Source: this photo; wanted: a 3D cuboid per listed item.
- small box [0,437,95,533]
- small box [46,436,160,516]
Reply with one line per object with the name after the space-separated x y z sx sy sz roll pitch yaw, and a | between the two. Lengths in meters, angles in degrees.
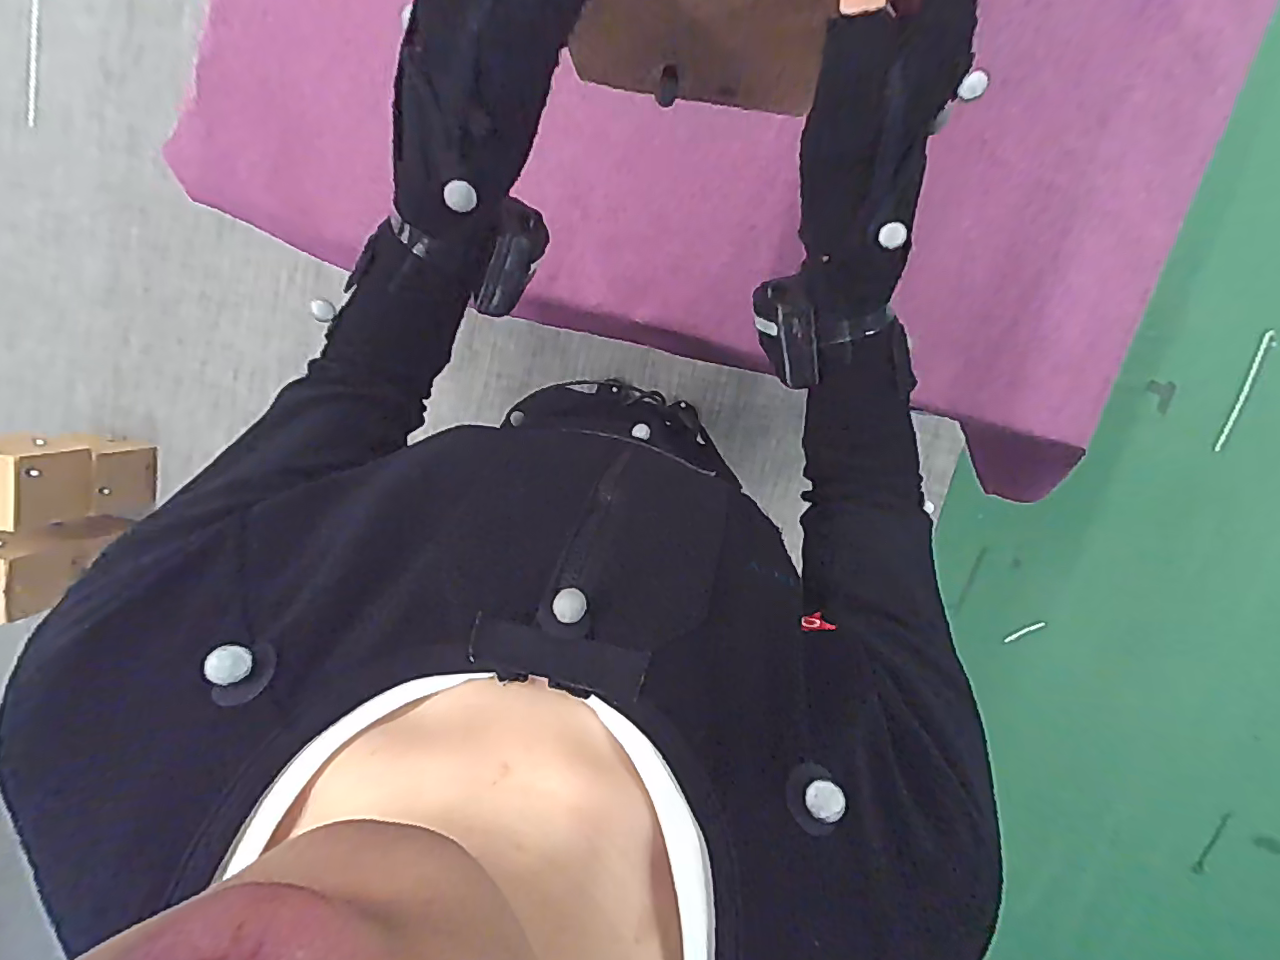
-1.435 0.006 1.263 0.168 0.176 0.179 11 100 -1 | small box
-1.428 -0.017 1.424 0.179 0.176 0.168 12 101 0 | small box
